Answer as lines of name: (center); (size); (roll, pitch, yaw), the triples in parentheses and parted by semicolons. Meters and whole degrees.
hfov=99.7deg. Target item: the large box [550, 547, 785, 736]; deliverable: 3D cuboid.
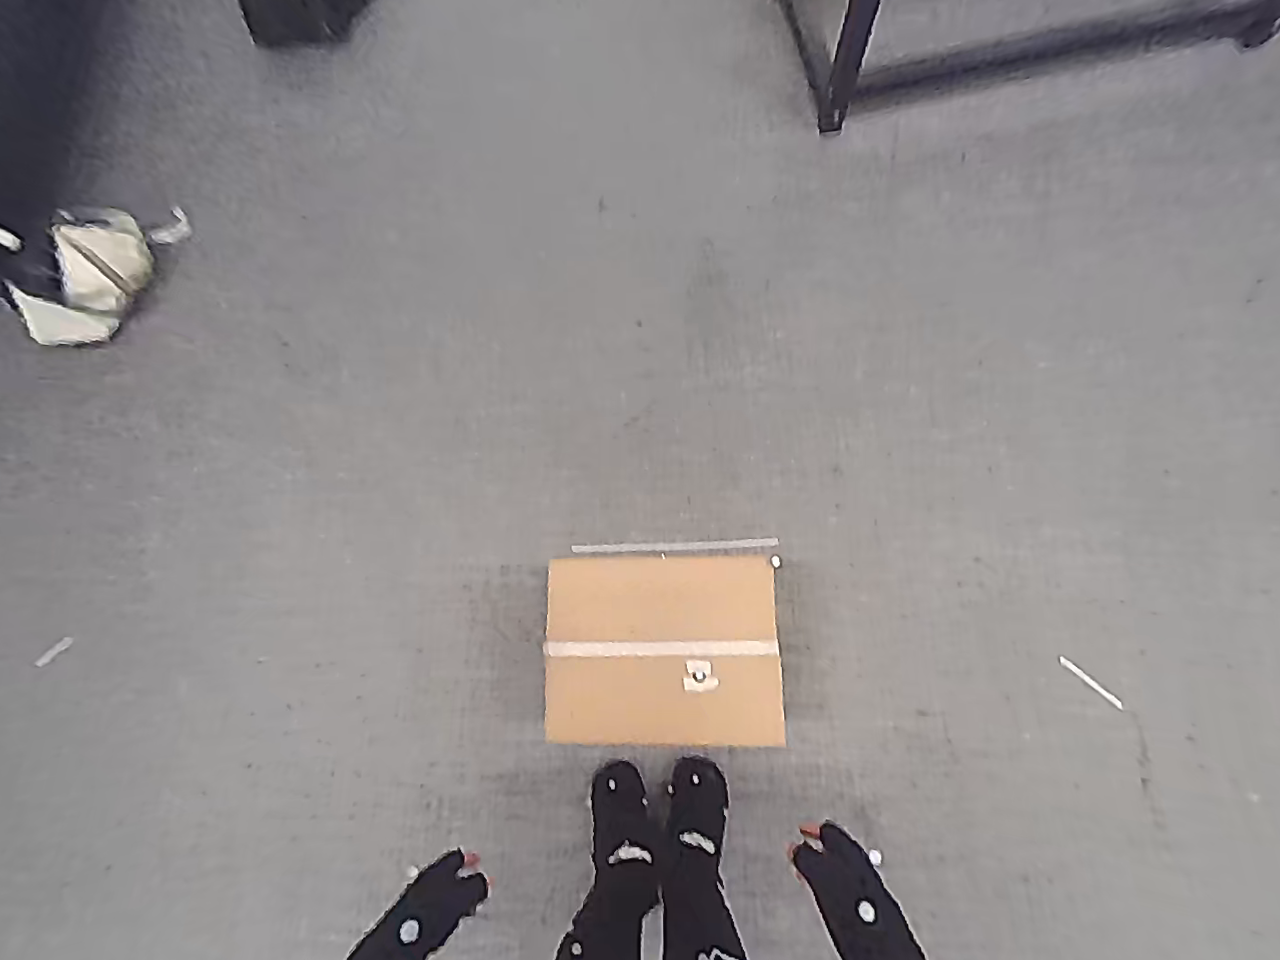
large box: (0.050, 0.312, 1.084); (0.408, 0.320, 0.320); (-2, 77, 5)
